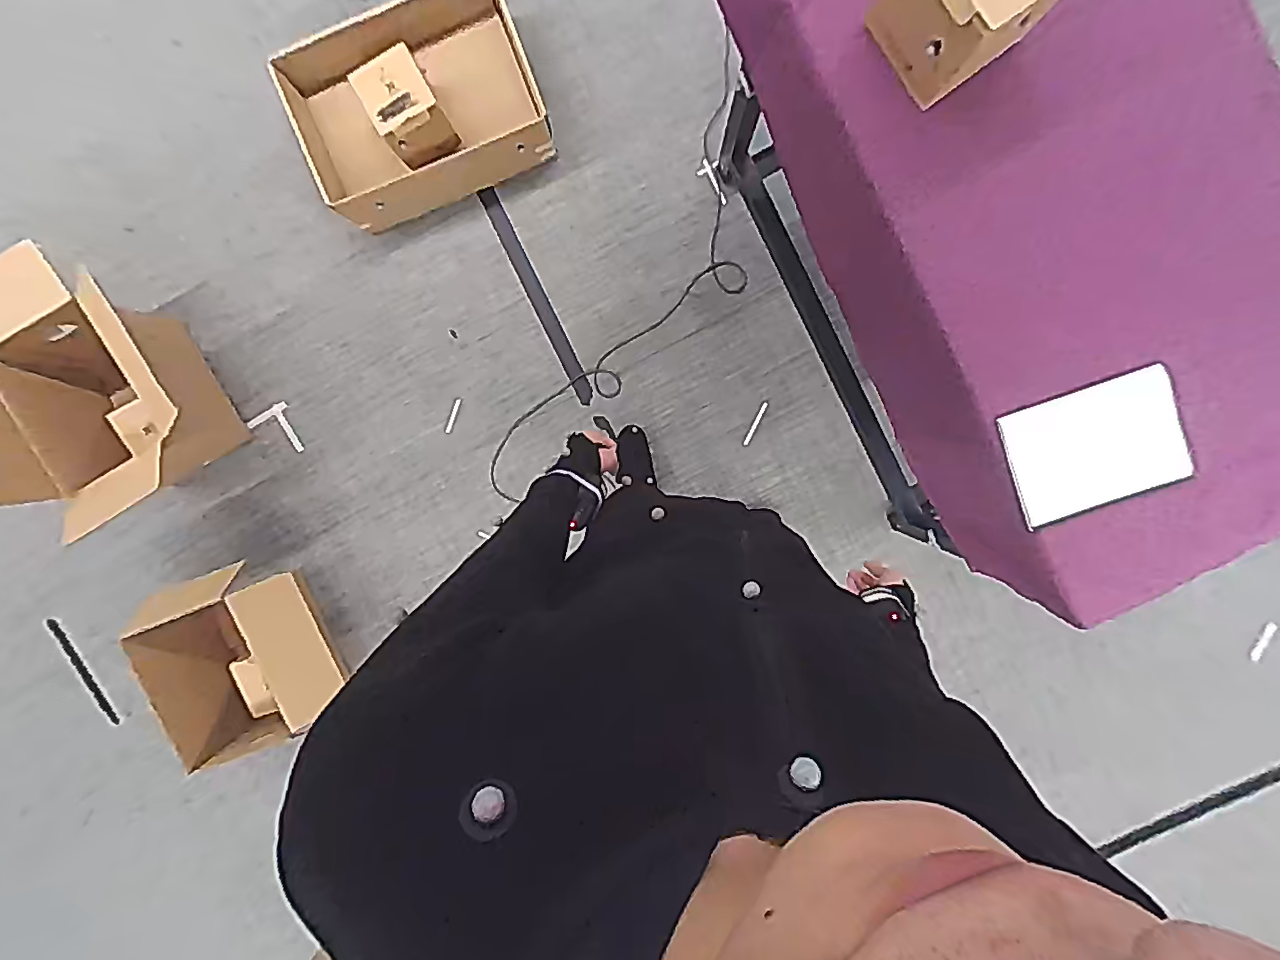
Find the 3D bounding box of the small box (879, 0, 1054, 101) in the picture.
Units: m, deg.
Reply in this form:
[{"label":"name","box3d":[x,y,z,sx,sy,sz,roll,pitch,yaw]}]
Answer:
[{"label":"small box","box3d":[0.457,-0.675,0.735,0.179,0.176,0.168,-35,95,4]}]
